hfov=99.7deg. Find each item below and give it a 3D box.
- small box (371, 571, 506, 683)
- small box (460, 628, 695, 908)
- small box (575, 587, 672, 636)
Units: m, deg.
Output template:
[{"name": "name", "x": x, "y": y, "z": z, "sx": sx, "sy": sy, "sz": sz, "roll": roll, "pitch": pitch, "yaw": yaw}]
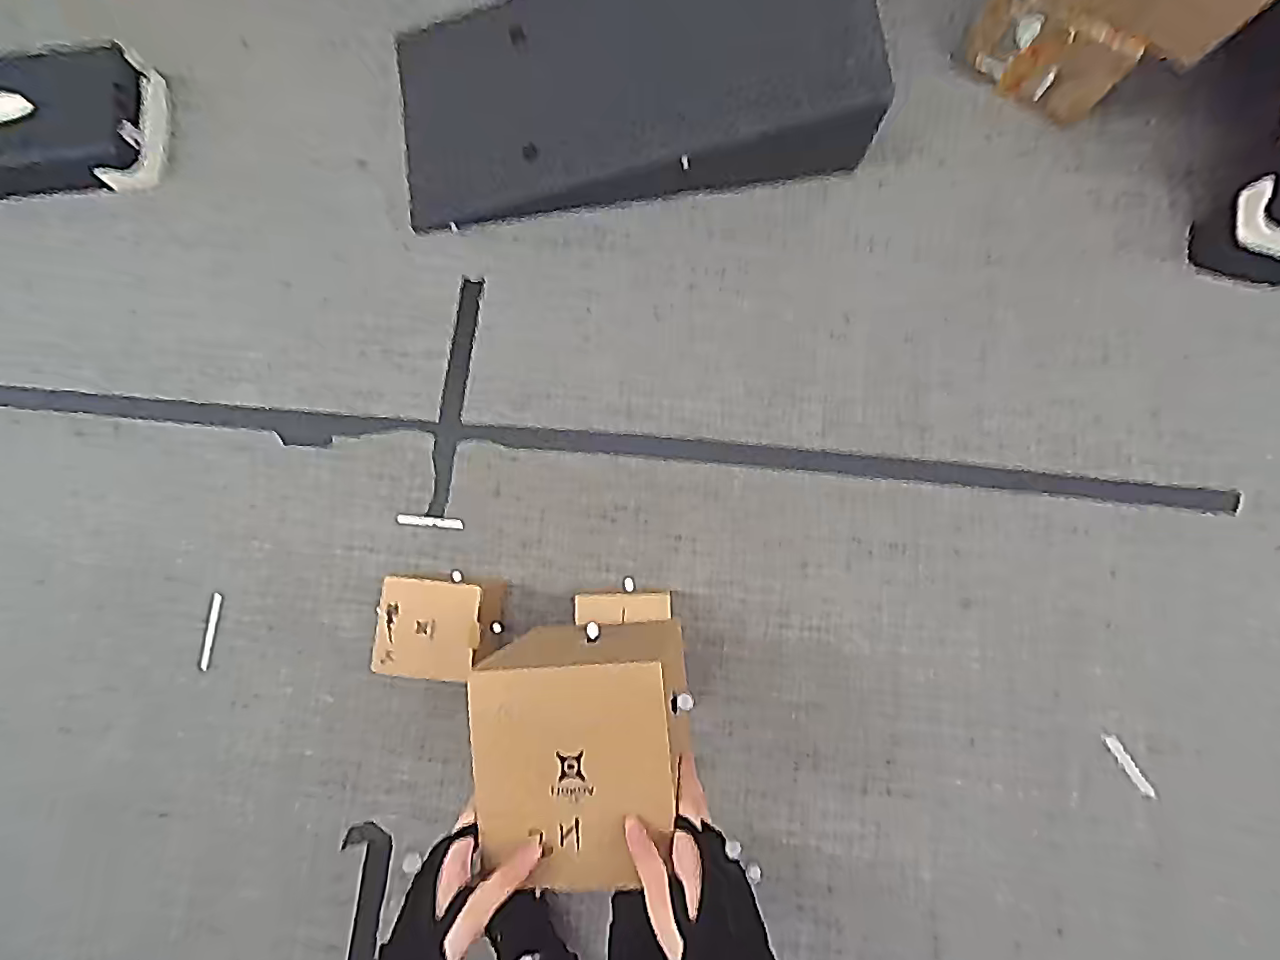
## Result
[{"name": "small box", "x": -0.359, "y": 0.262, "z": 0.997, "sx": 0.179, "sy": 0.176, "sz": 0.168, "roll": 7, "pitch": 83, "yaw": 2}, {"name": "small box", "x": -0.043, "y": 0.236, "z": 0.488, "sx": 0.168, "sy": 0.176, "sz": 0.179, "roll": -6, "pitch": 86, "yaw": 10}, {"name": "small box", "x": -0.025, "y": 0.291, "z": 0.985, "sx": 0.168, "sy": 0.176, "sz": 0.179, "roll": -1, "pitch": 82, "yaw": 2}]
